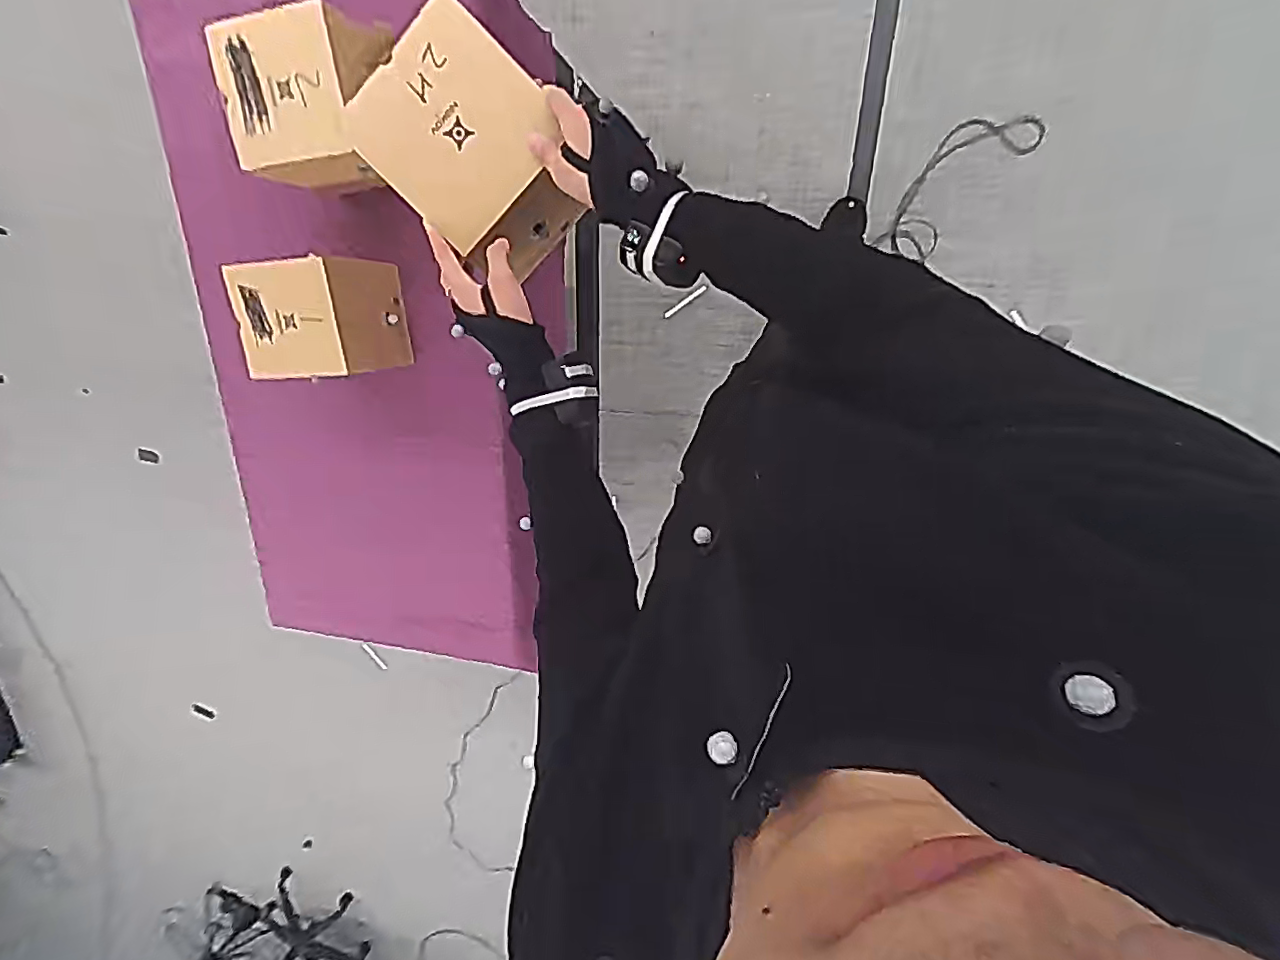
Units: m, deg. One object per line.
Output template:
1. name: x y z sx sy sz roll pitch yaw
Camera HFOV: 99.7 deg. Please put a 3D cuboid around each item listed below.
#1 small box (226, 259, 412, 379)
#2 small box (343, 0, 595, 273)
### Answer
1. small box: -0.504 -0.257 0.873 0.179 0.176 0.168 0 108 13
2. small box: -0.168 -0.355 0.598 0.179 0.176 0.168 45 97 -3
